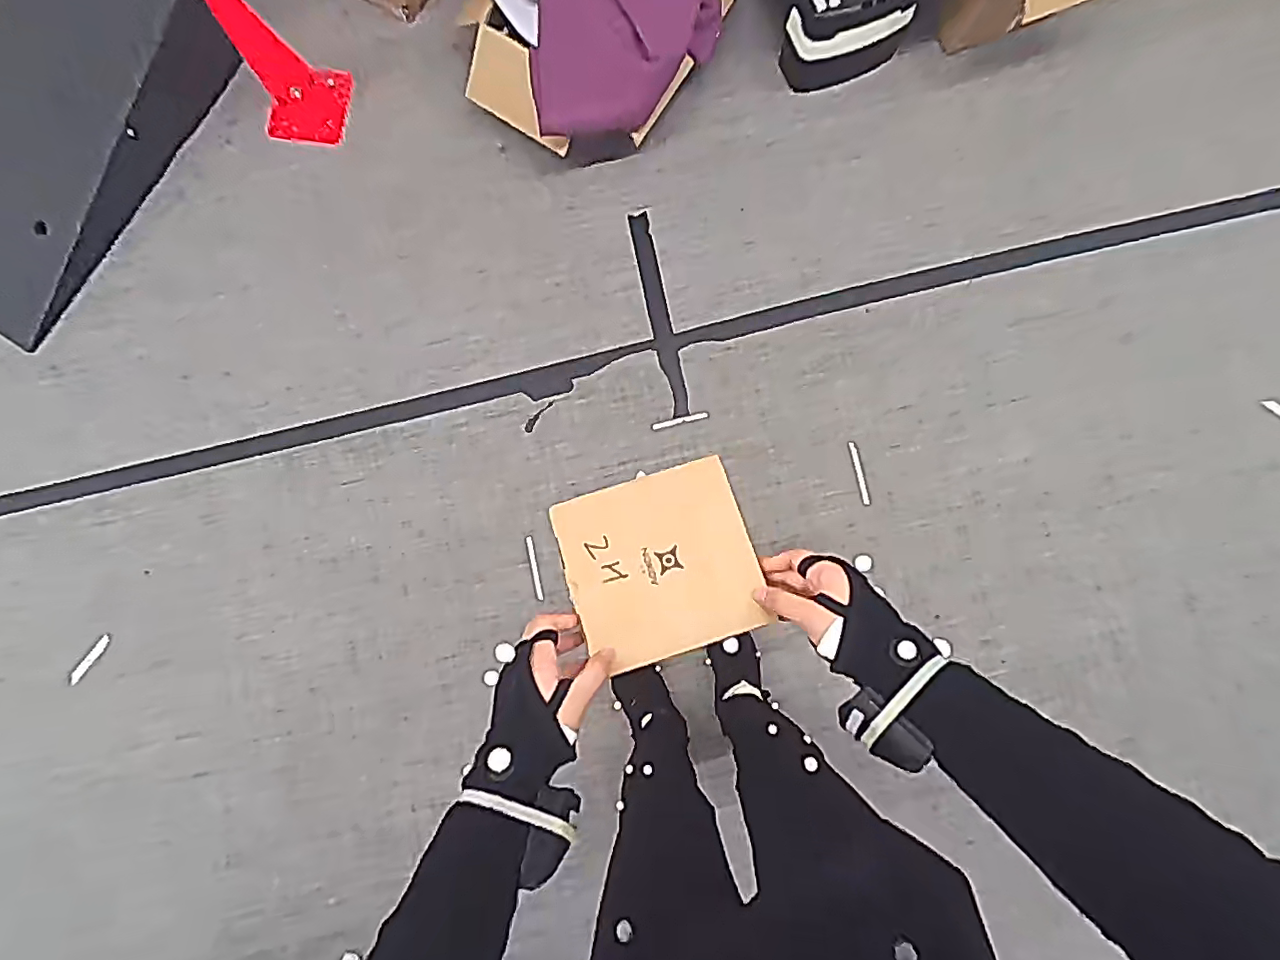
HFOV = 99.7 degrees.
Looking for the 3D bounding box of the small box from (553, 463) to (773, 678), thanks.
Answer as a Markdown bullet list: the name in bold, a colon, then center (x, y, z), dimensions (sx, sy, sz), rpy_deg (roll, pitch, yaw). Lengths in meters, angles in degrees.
- **small box**: center (0.021, 0.097, 0.590), dimensions (0.179, 0.176, 0.168), rpy_deg (-17, 78, -2)
